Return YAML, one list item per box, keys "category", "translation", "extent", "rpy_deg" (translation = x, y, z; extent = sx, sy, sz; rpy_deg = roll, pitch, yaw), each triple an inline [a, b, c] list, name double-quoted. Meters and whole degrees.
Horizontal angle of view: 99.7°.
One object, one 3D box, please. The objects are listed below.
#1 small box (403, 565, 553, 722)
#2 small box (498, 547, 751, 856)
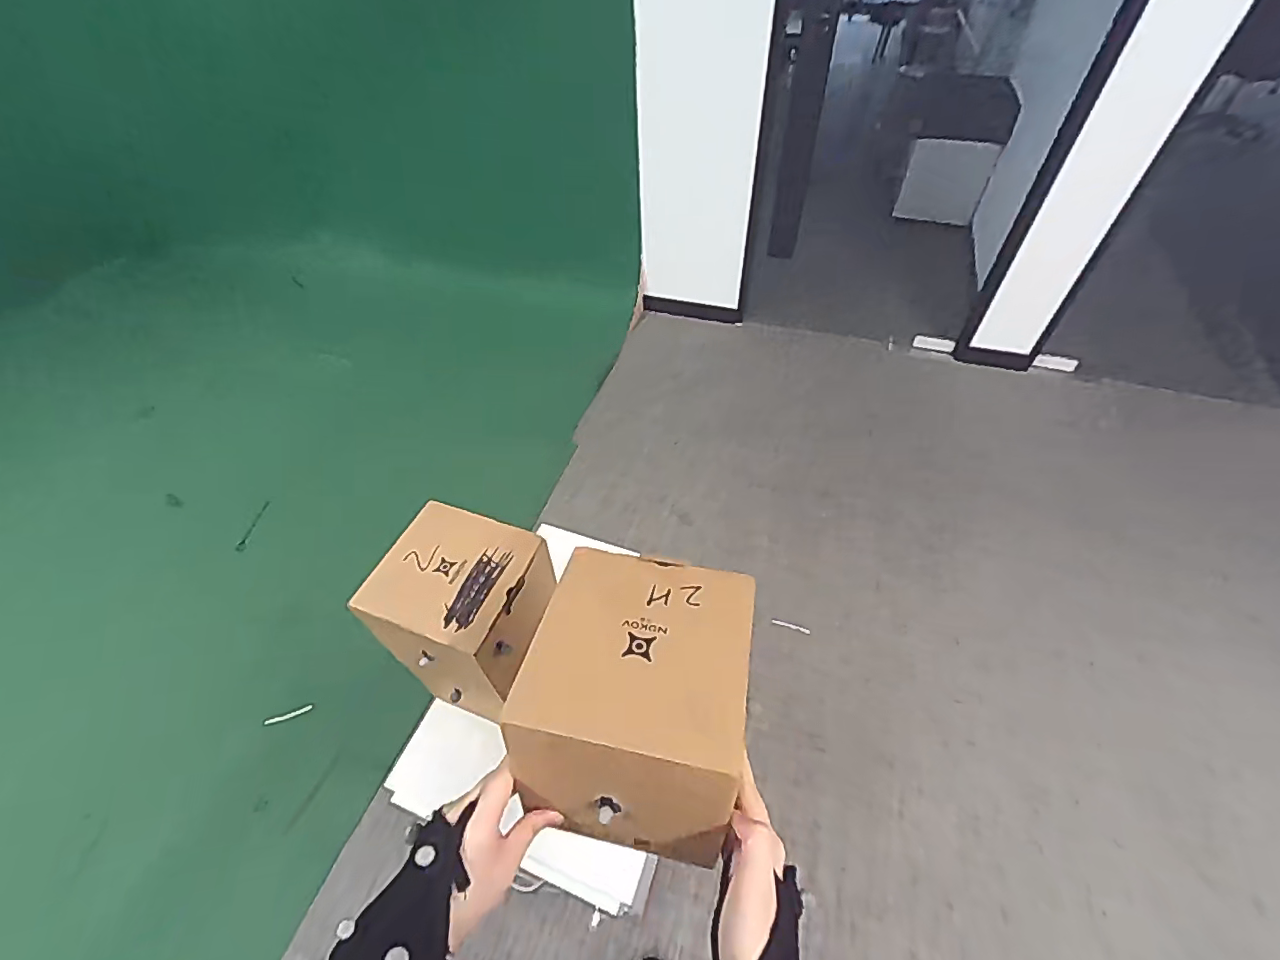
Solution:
- category: "small box"
  translation: [-0.222, 0.263, 0.839]
  extent: [0.179, 0.176, 0.168]
  rpy_deg: [15, 53, 14]
- category: "small box"
  translation: [-0.001, 0.188, 0.470]
  extent: [0.168, 0.176, 0.179]
  rpy_deg: [9, 38, 9]
